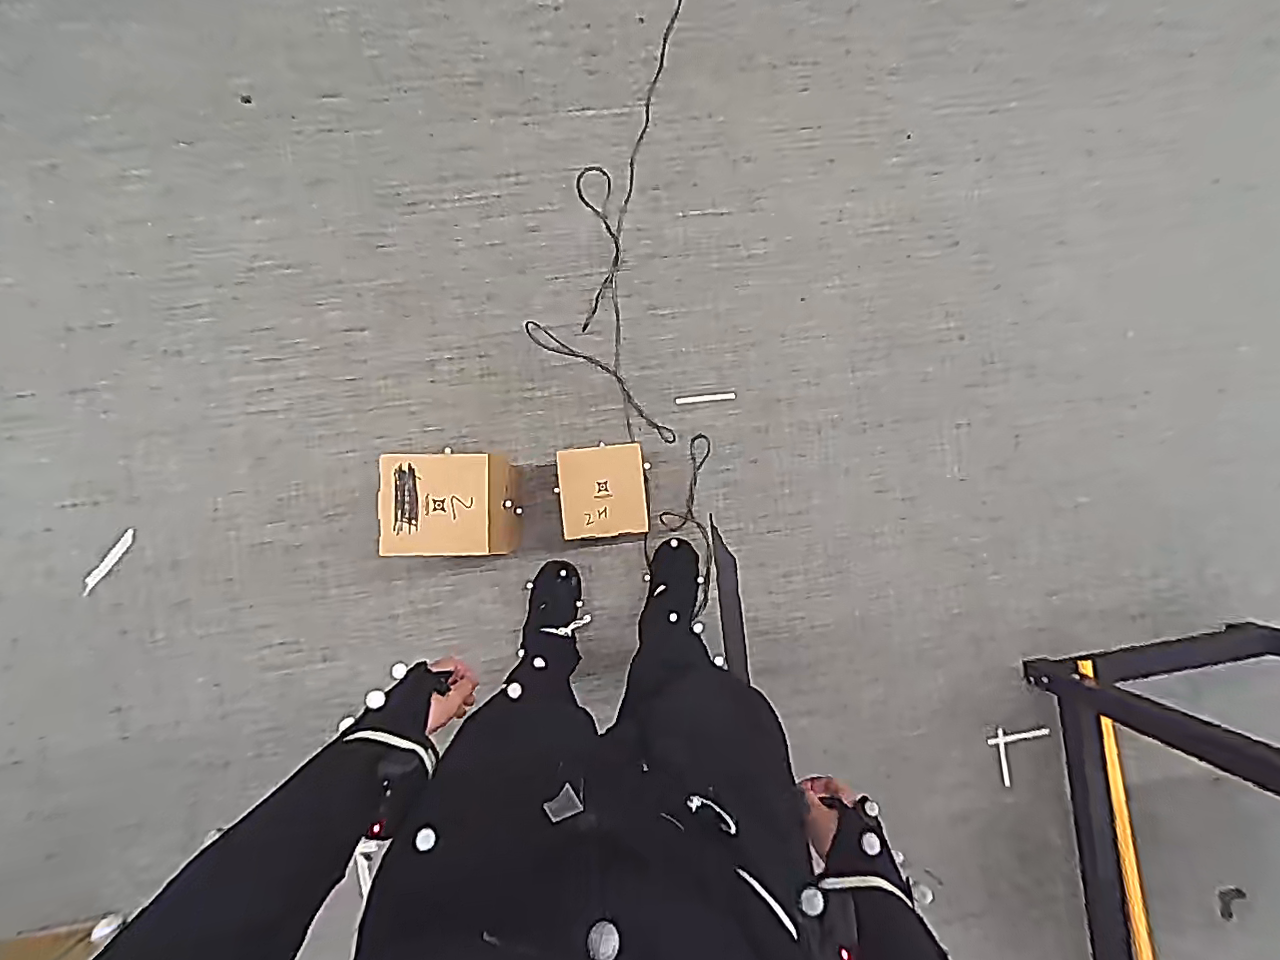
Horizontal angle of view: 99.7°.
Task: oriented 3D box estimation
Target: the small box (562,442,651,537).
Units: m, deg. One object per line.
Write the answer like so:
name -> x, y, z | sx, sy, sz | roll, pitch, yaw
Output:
small box -> -0.069, 0.021, 1.124 | 0.168, 0.176, 0.179 | -5, 89, -2

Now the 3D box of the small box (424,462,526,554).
small box -> -0.331, 0.055, 1.109 | 0.168, 0.176, 0.179 | 0, 90, -3
